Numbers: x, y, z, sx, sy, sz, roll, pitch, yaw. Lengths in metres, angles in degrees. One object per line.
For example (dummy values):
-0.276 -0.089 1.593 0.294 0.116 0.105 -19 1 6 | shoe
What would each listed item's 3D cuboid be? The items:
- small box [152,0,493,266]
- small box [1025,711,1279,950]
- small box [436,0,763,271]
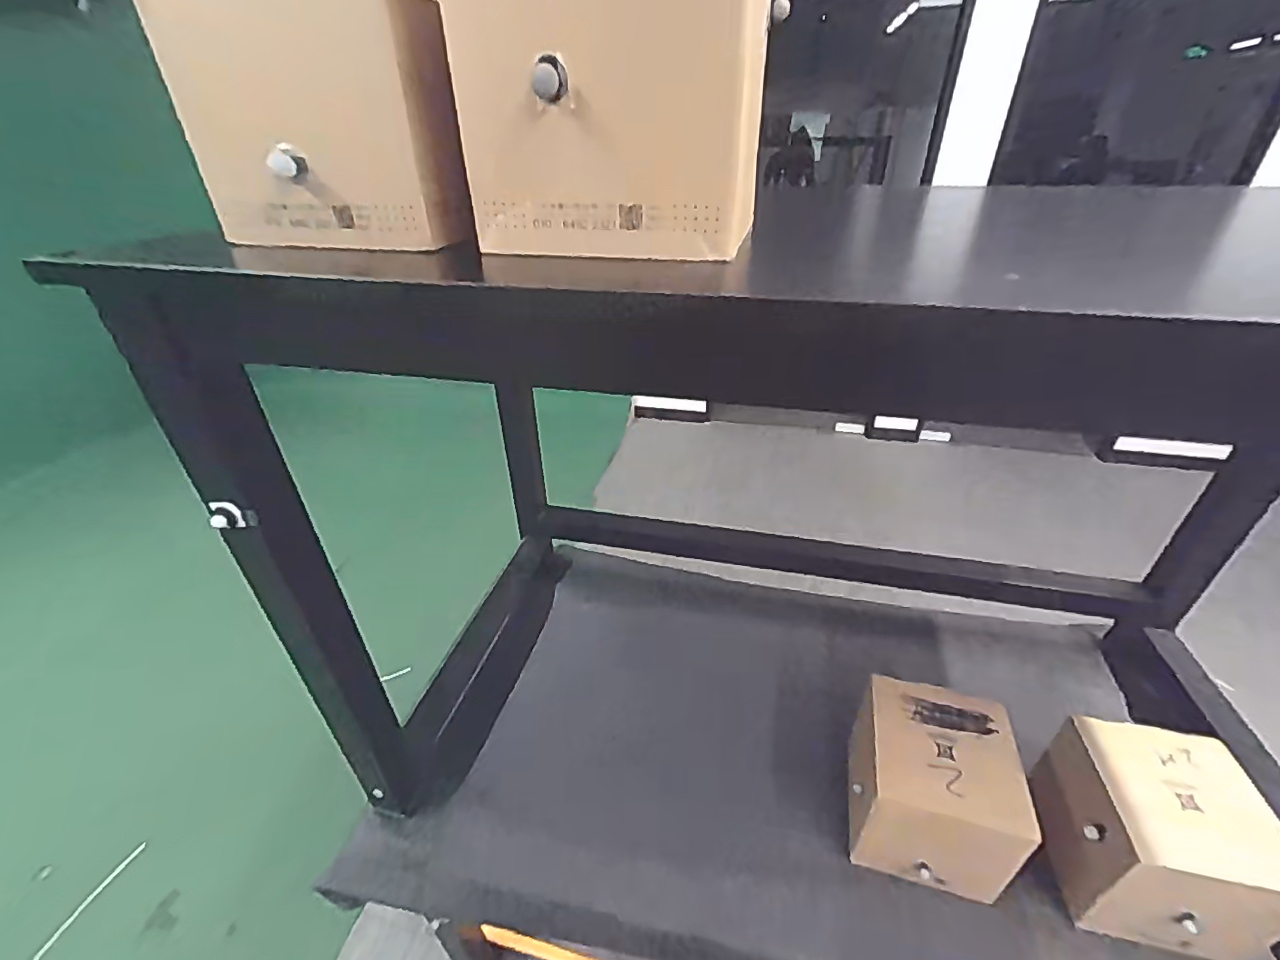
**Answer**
-0.199 -0.270 0.406 0.168 0.176 0.179 6 34 11 | small box
0.611 0.419 0.654 0.168 0.176 0.179 6 32 11 | small box
-0.008 -0.246 0.369 0.168 0.176 0.179 6 33 12 | small box
